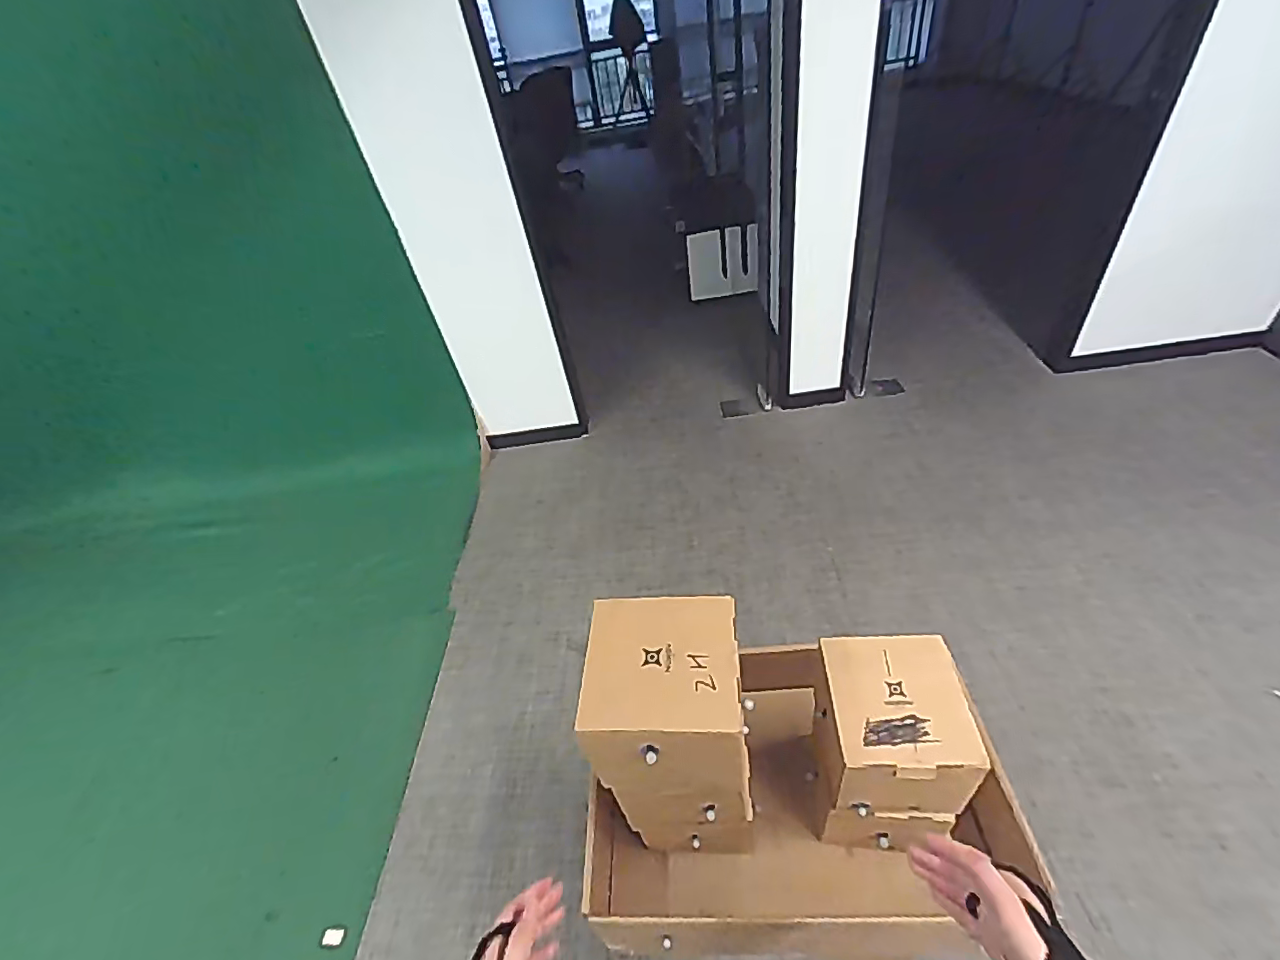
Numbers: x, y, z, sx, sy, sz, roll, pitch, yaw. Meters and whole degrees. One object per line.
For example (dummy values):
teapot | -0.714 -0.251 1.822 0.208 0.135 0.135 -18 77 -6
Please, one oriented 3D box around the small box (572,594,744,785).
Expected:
small box | 0.033 0.259 0.666 0.179 0.176 0.168 -4 43 10

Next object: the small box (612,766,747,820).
small box | 0.061 0.374 0.781 0.168 0.176 0.179 -6 42 7

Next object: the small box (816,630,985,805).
small box | 0.344 0.332 0.753 0.168 0.176 0.179 -5 42 10
